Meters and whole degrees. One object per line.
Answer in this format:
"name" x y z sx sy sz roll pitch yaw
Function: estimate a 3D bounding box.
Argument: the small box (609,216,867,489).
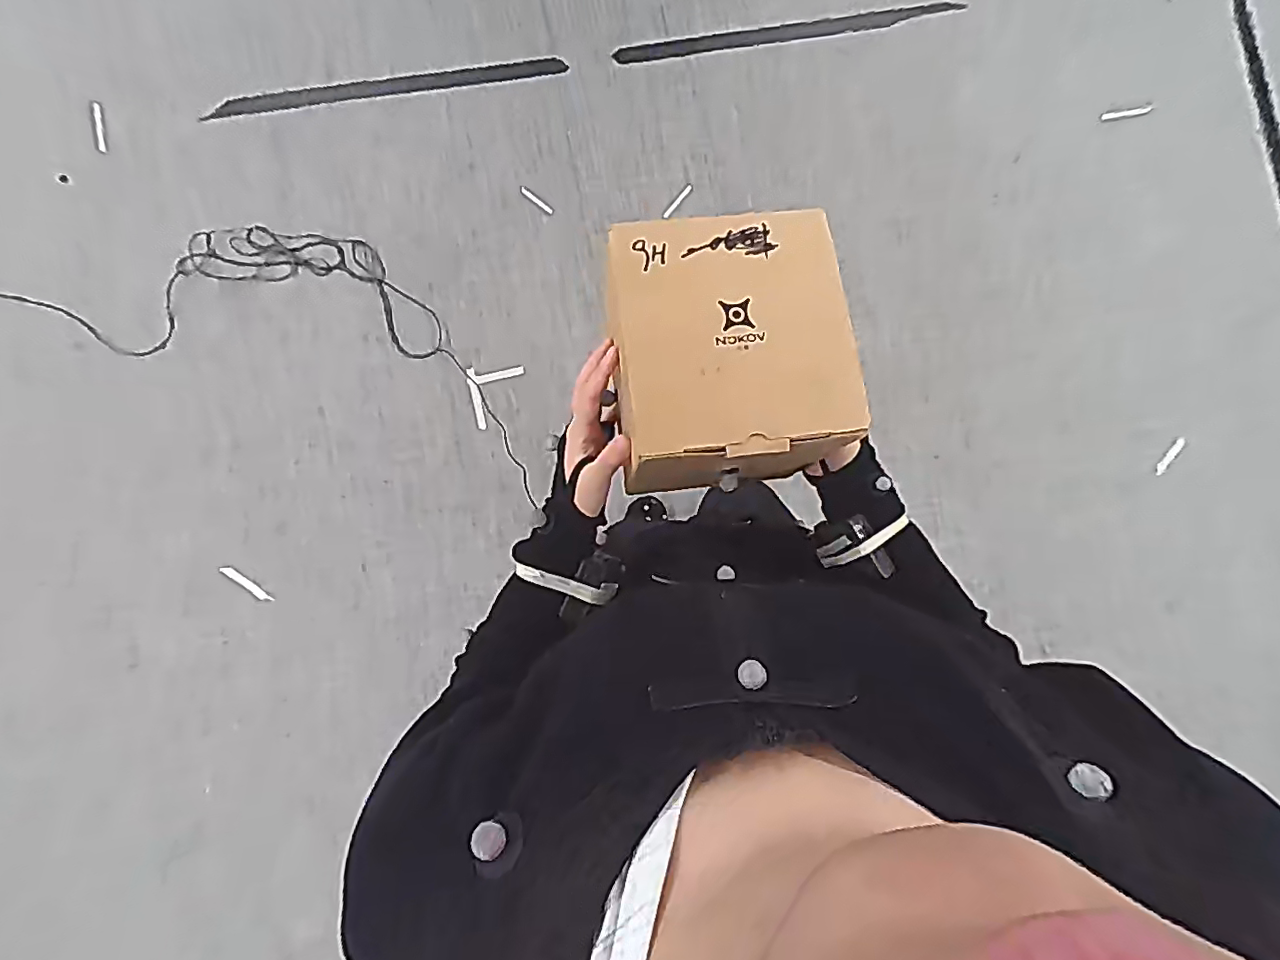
"small box" 0.064 -0.090 0.460 0.168 0.176 0.179 -6 81 -6
